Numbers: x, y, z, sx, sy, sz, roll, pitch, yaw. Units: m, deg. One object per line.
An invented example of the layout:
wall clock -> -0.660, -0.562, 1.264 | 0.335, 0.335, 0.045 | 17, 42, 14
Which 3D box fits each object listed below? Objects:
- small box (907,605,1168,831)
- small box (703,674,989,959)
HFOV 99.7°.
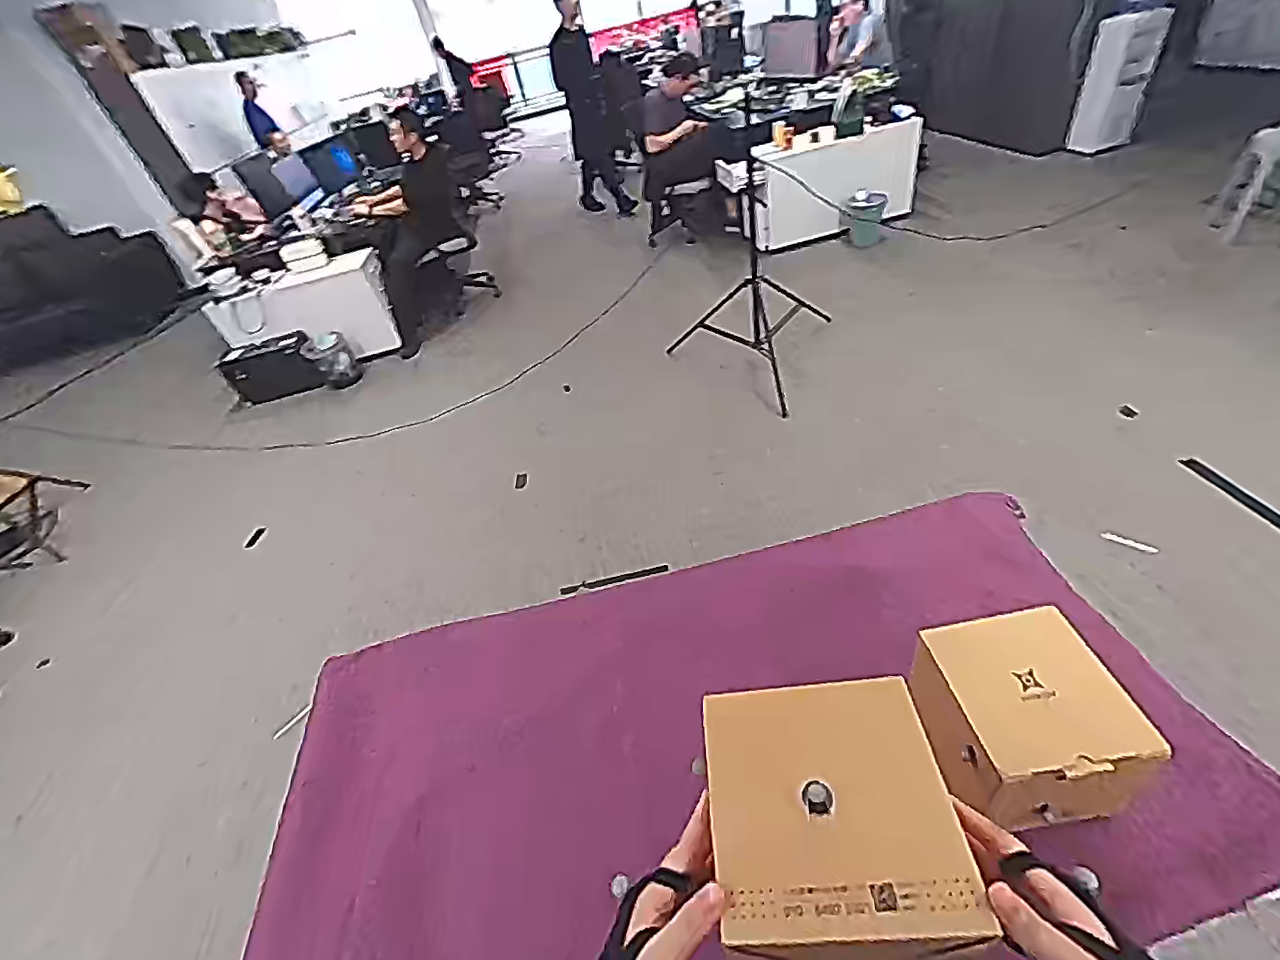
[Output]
small box -> 0.441, 0.281, 0.642 | 0.168, 0.176, 0.179 | -12, 40, 3
small box -> 0.151, 0.285, 0.438 | 0.168, 0.179, 0.176 | -9, 39, 10
